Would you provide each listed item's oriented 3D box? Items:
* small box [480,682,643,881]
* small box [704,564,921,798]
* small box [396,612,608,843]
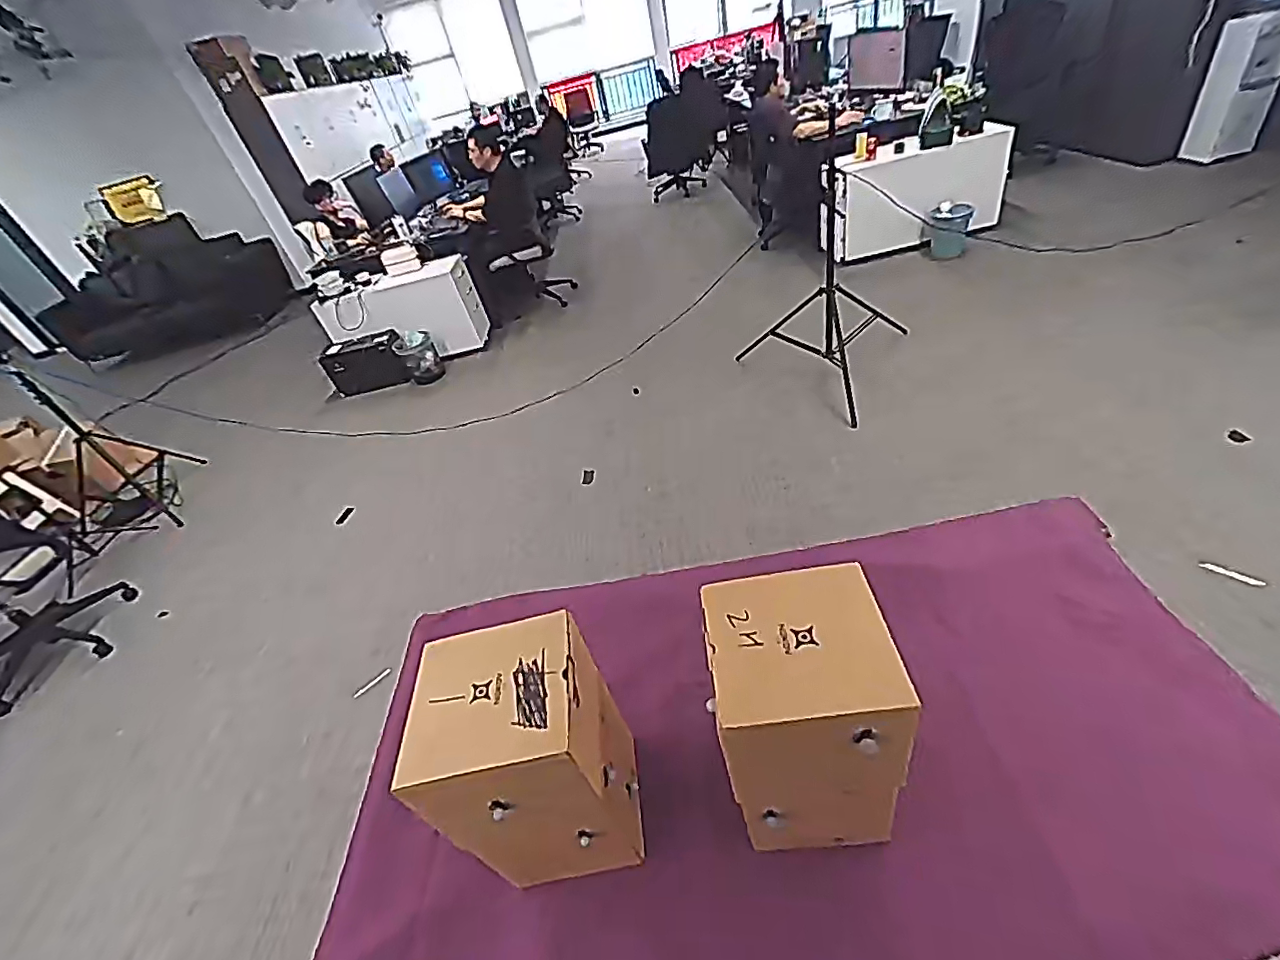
[{"bbox_3d":[-0.104,0.403,0.719,0.179,0.176,0.168,-13,38,2],"label":"small box"},{"bbox_3d":[0.171,0.217,0.580,0.179,0.176,0.168,-10,38,8],"label":"small box"},{"bbox_3d":[-0.137,0.281,0.613,0.179,0.176,0.168,-14,38,3],"label":"small box"}]
